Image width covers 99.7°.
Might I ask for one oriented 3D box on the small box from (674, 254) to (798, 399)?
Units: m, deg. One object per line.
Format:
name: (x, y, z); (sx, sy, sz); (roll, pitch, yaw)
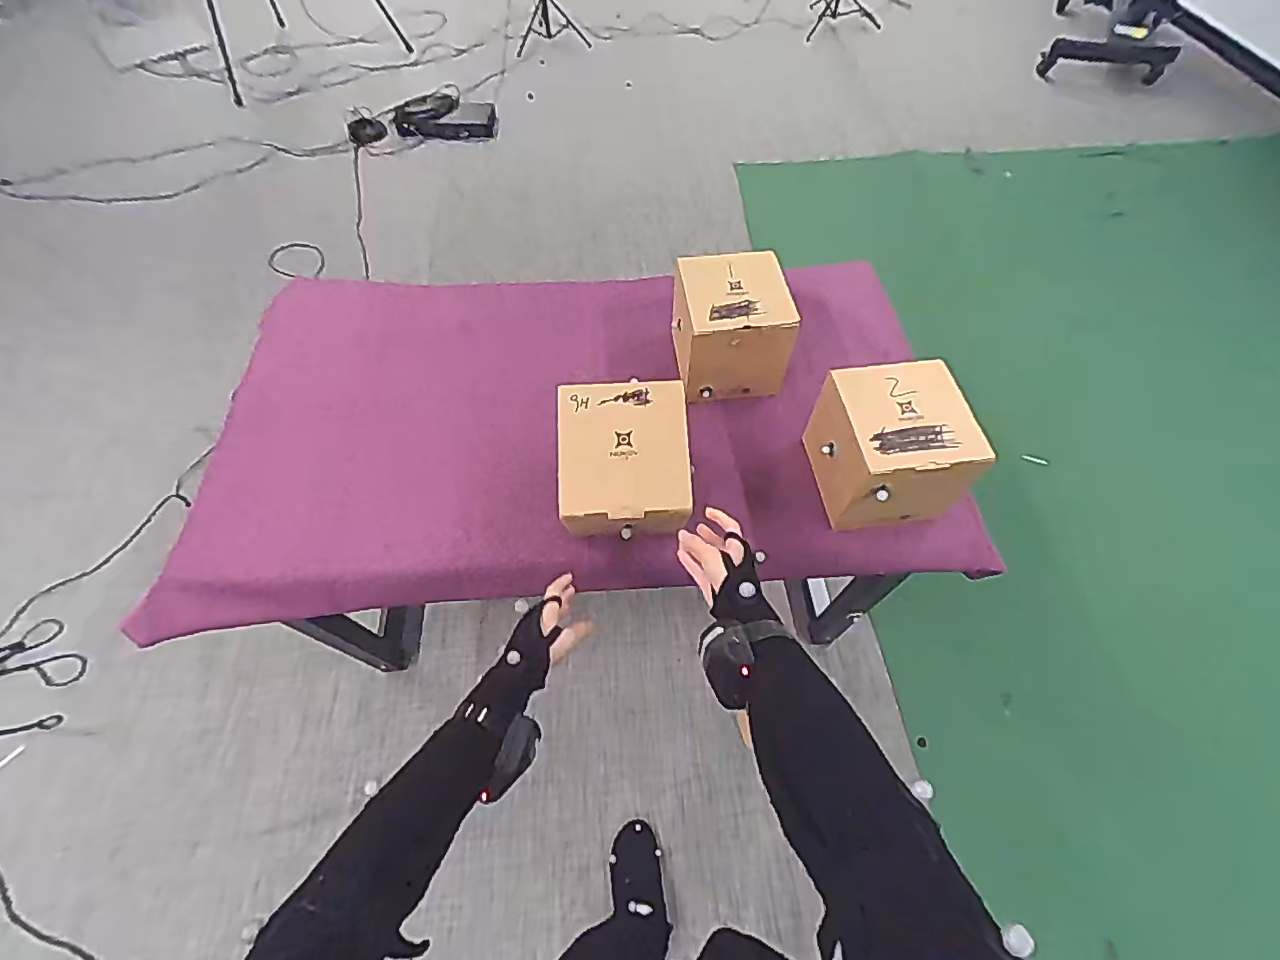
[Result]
small box: (0.151, -0.252, 0.917); (0.168, 0.176, 0.179); (-5, 58, -3)

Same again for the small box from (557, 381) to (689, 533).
small box: (-0.022, -0.023, 0.756); (0.168, 0.176, 0.179); (-2, 74, -1)
